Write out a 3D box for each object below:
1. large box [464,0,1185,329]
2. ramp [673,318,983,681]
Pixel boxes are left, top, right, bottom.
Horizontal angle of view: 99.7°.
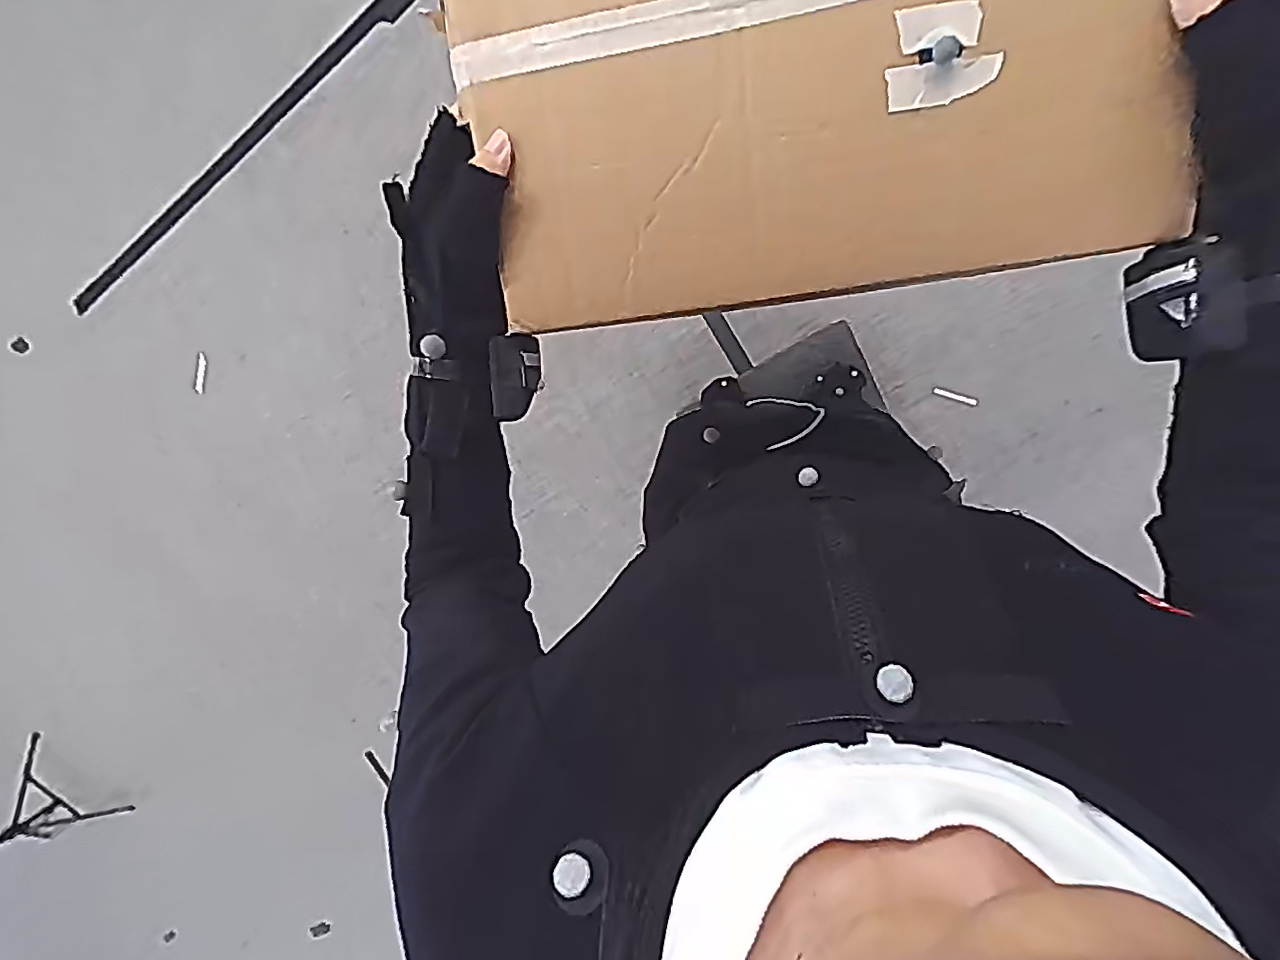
[{"bbox_3d":[0.107,-0.315,0.452,0.408,0.320,0.320,-6,106,8],"label":"large box"},{"bbox_3d":[0.548,0.112,1.505,0.509,0.206,0.991,-31,96,12],"label":"ramp"}]
